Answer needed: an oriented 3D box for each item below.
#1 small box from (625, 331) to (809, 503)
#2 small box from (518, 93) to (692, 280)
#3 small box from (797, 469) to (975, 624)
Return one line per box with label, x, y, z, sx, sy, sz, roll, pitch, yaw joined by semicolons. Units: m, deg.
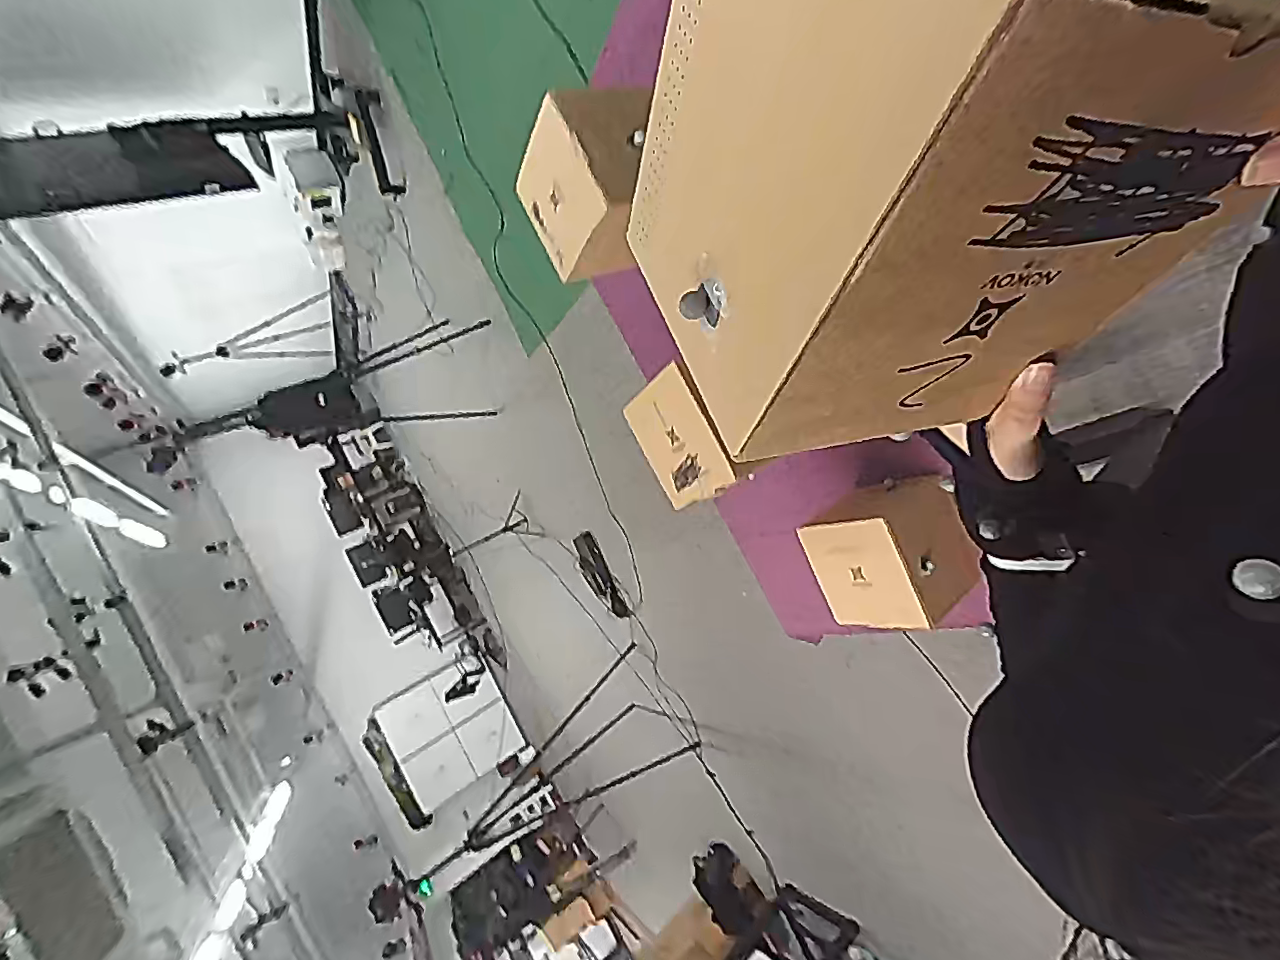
small box;0.113;-0.091;0.797;0.179;0.176;0.168;62;150;3
small box;-0.047;-0.423;0.785;0.179;0.176;0.168;-27;90;59
small box;0.390;0.103;0.856;0.168;0.176;0.179;-18;97;59
